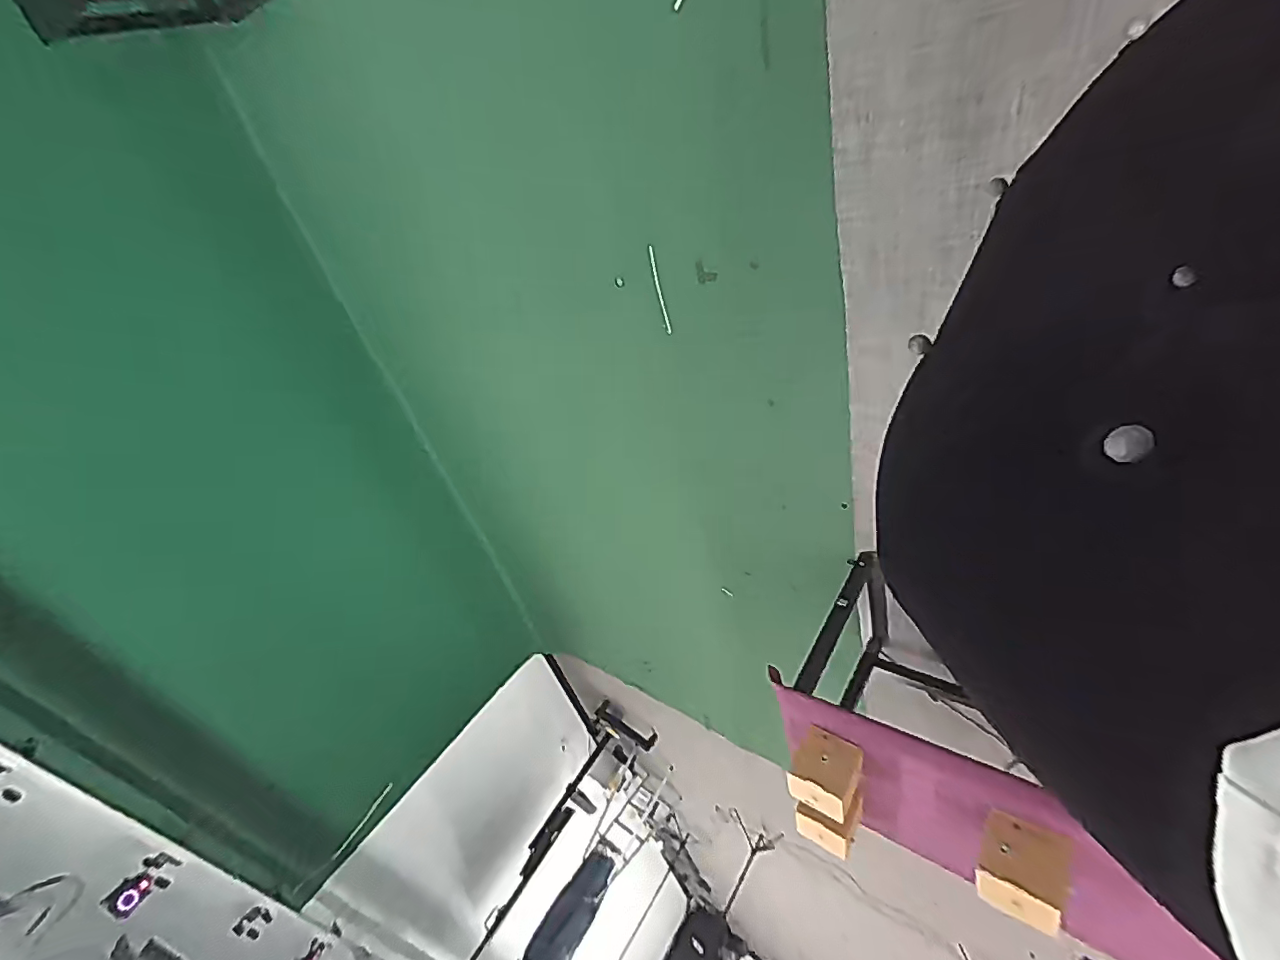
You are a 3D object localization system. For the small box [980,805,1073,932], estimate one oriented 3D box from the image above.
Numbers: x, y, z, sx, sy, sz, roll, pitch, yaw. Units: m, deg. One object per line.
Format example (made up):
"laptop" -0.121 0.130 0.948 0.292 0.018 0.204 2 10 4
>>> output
"small box" 0.954 0.952 1.338 0.168 0.176 0.179 9 134 41

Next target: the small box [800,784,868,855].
"small box" 0.646 1.090 1.797 0.168 0.176 0.179 15 136 34

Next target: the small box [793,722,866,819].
"small box" 0.576 0.874 1.640 0.168 0.176 0.179 16 138 35
